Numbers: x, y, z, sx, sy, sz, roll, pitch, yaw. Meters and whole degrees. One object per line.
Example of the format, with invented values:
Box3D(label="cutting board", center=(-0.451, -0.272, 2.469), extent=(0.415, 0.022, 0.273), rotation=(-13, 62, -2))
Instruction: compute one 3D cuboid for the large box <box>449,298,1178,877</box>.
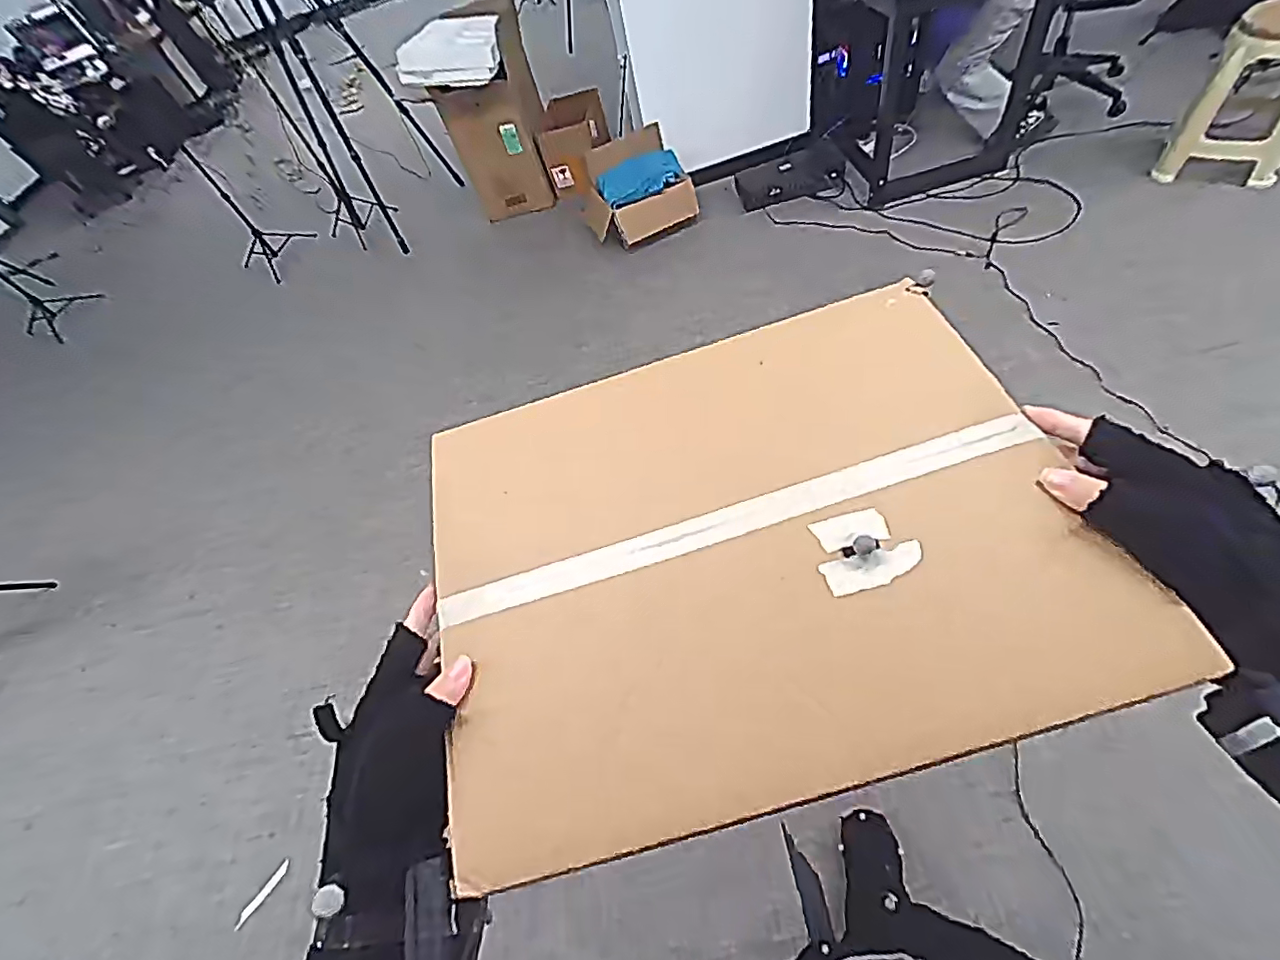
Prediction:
Box3D(label="large box", center=(0.090, 0.108, 0.495), extent=(0.408, 0.320, 0.320), rotation=(-18, 58, 1))
